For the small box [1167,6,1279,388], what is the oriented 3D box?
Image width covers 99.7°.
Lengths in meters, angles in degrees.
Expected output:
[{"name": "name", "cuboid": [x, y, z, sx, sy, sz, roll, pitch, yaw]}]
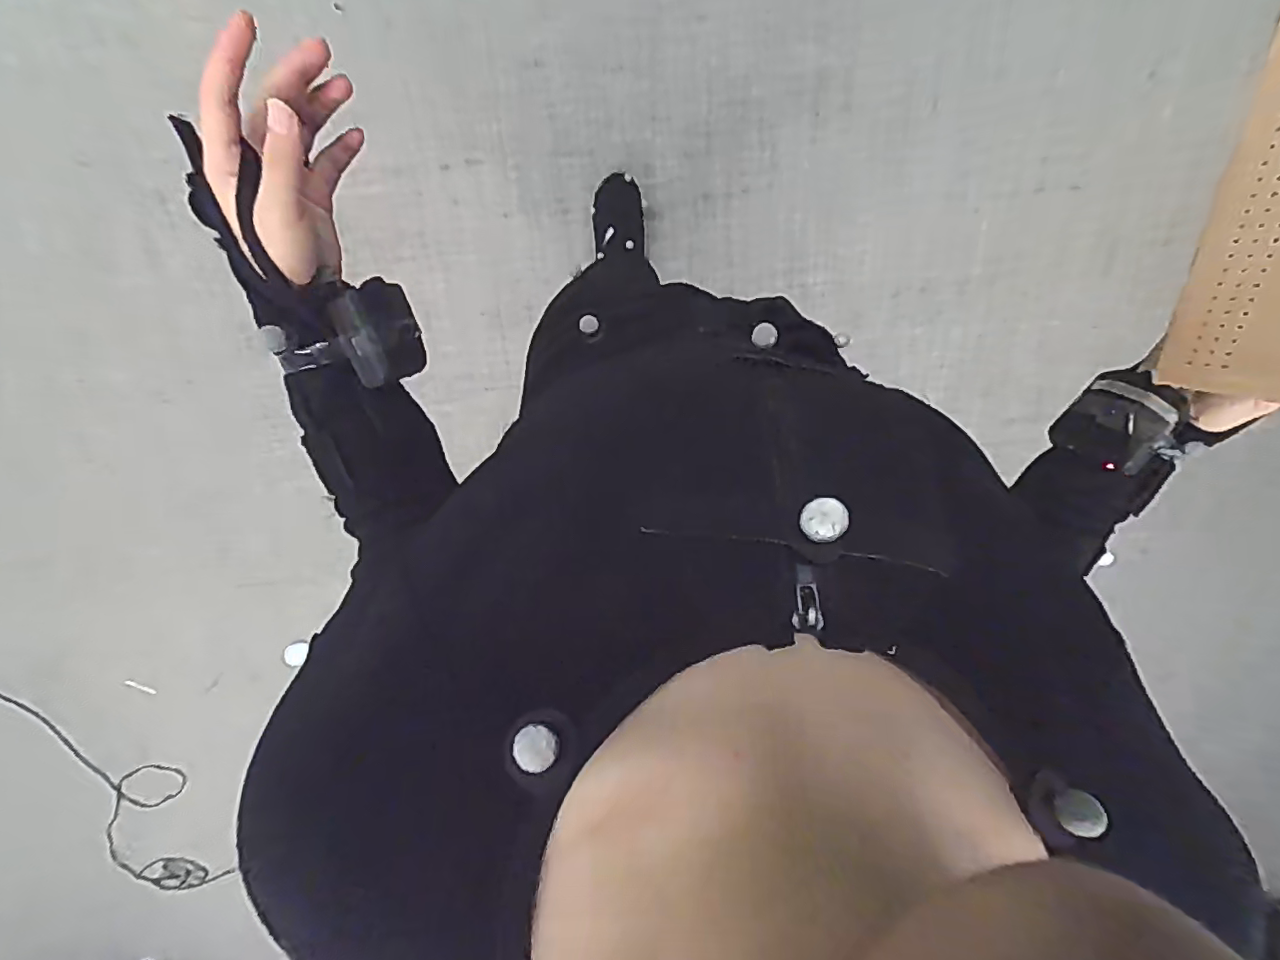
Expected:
[{"name": "small box", "cuboid": [0.382, -0.129, 0.228, 0.168, 0.176, 0.179, -17, 117, -21]}]
